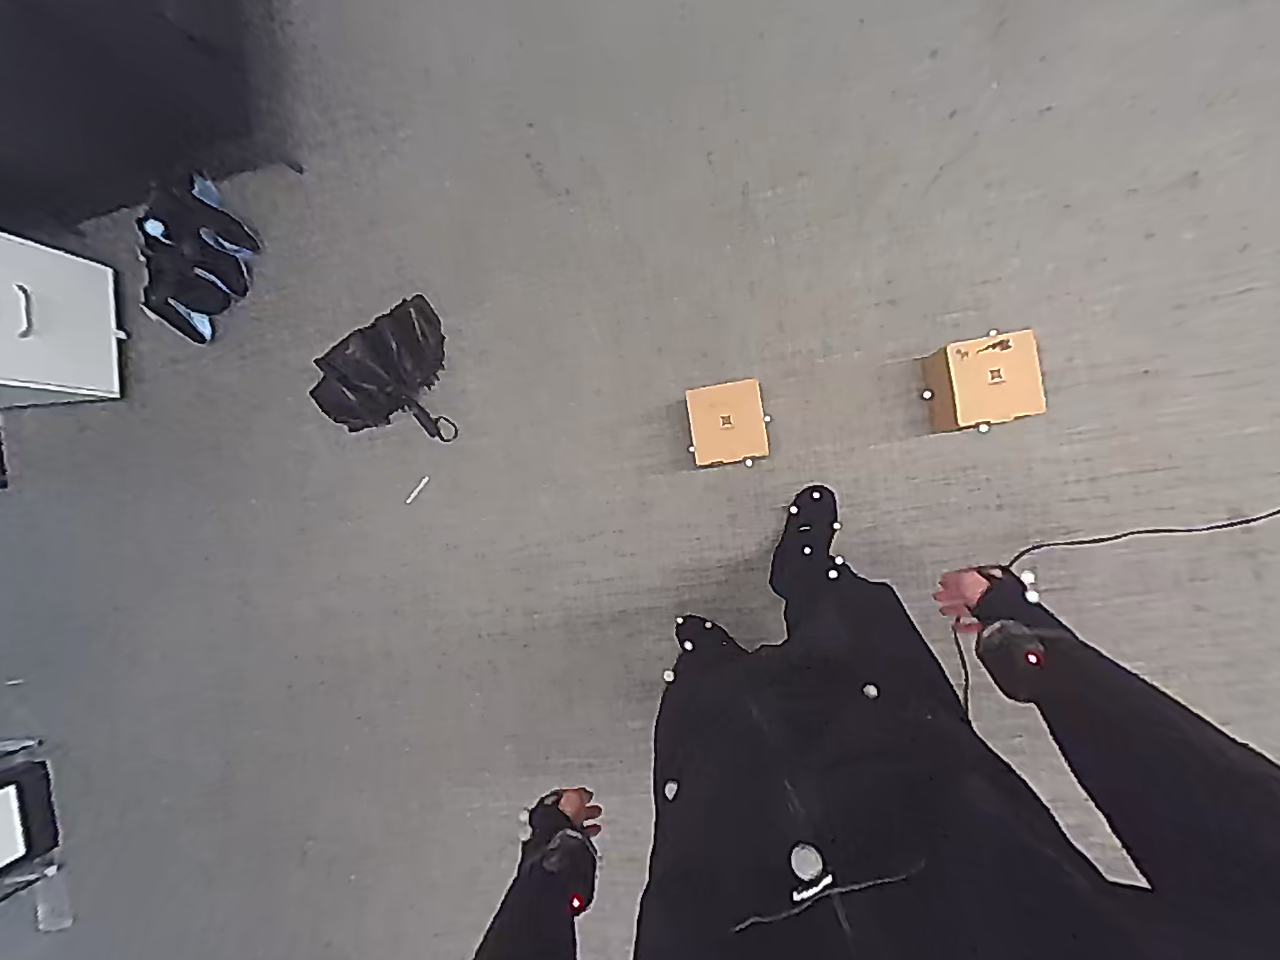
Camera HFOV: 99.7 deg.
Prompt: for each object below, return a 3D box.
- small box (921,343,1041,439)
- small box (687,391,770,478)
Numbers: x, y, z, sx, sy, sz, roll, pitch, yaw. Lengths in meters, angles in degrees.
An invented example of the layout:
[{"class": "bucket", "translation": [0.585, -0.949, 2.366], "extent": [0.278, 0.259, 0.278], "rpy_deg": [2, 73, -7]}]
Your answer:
[{"class": "small box", "translation": [0.745, -0.187, 1.197], "extent": [0.168, 0.176, 0.179], "rpy_deg": [-9, 89, 11]}, {"class": "small box", "translation": [0.215, -0.102, 1.301], "extent": [0.168, 0.176, 0.179], "rpy_deg": [-10, 86, 10]}]
